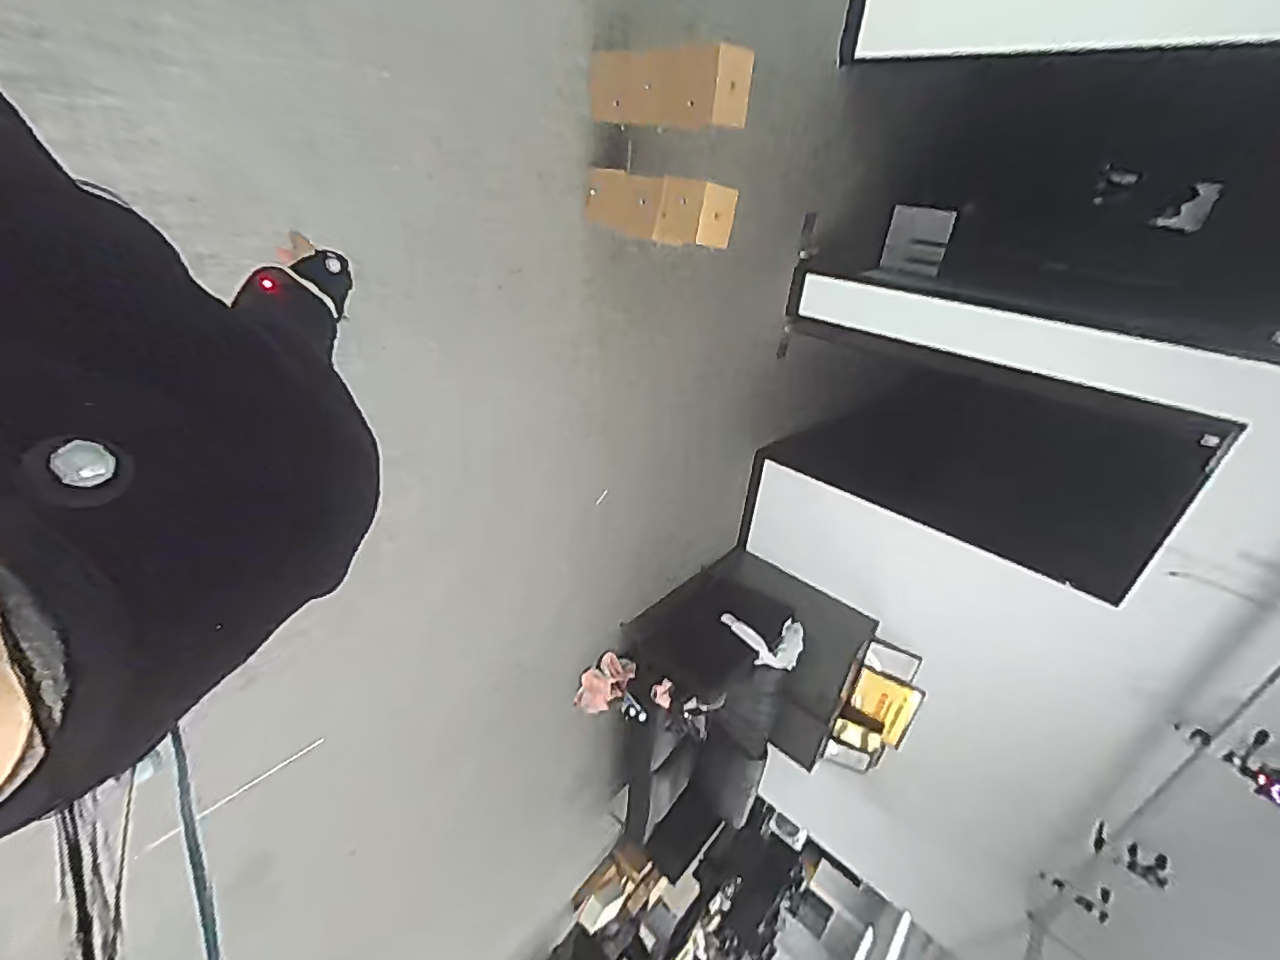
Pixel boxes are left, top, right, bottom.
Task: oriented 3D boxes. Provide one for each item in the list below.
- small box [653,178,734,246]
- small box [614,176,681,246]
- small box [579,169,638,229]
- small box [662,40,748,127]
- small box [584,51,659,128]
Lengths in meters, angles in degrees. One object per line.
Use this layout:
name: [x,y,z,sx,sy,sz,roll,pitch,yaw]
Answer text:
small box: [0.161,-0.825,1.663,0.179,0.176,0.168,-20,127,-46]
small box: [0.035,-0.873,1.755,0.168,0.176,0.179,-16,123,-47]
small box: [-0.083,-0.950,1.840,0.179,0.176,0.168,-16,123,-47]
small box: [0.175,-1.090,1.498,0.168,0.176,0.179,-28,132,-41]
small box: [-0.061,-1.214,1.690,0.168,0.176,0.179,-28,132,-42]
